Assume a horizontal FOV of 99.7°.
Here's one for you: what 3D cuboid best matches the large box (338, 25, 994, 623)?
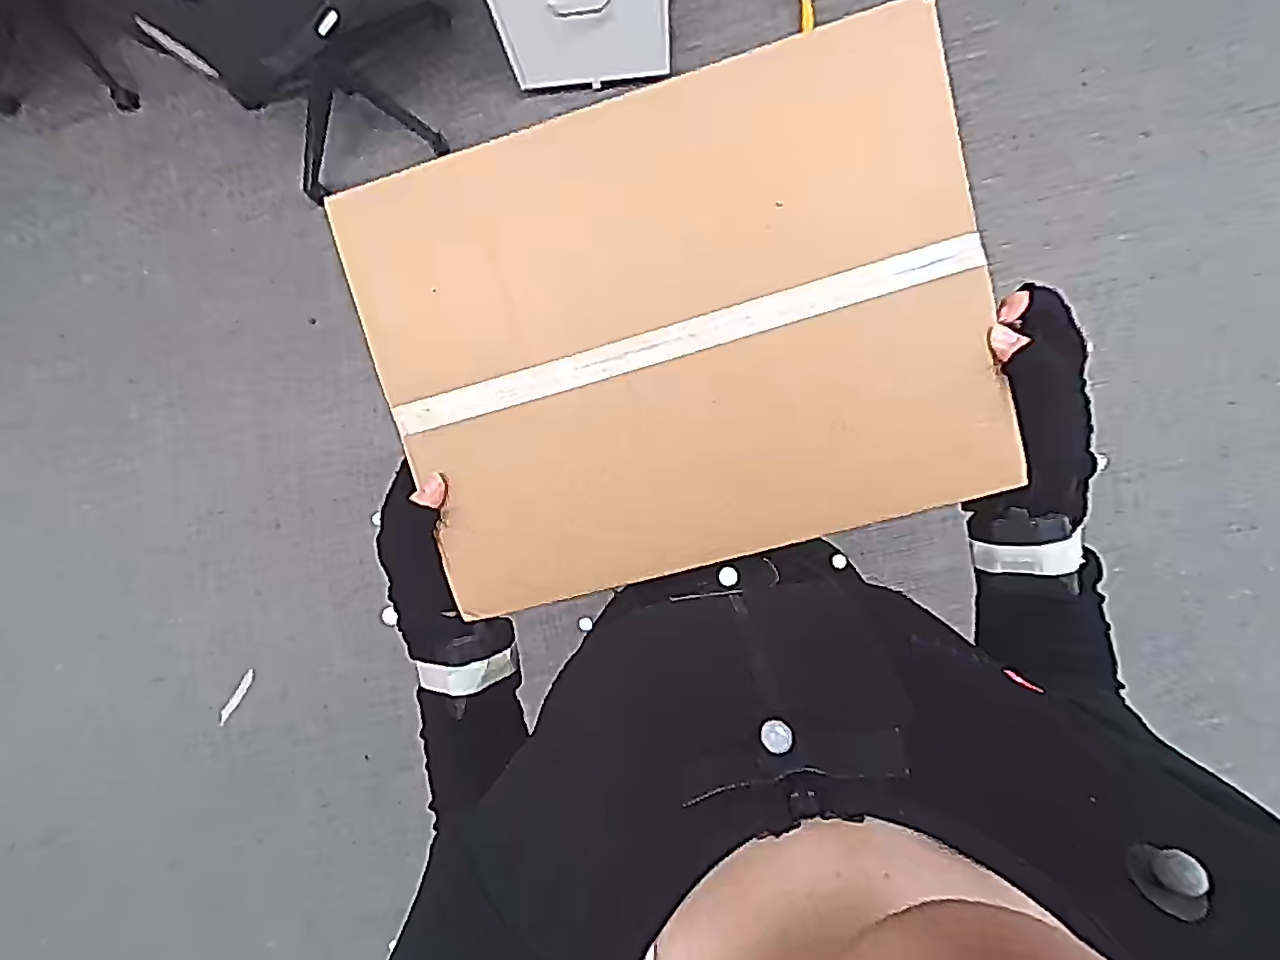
[{"bbox_3d":[0.028,-0.110,0.524,0.408,0.320,0.320,-15,96,6],"label":"large box"}]
